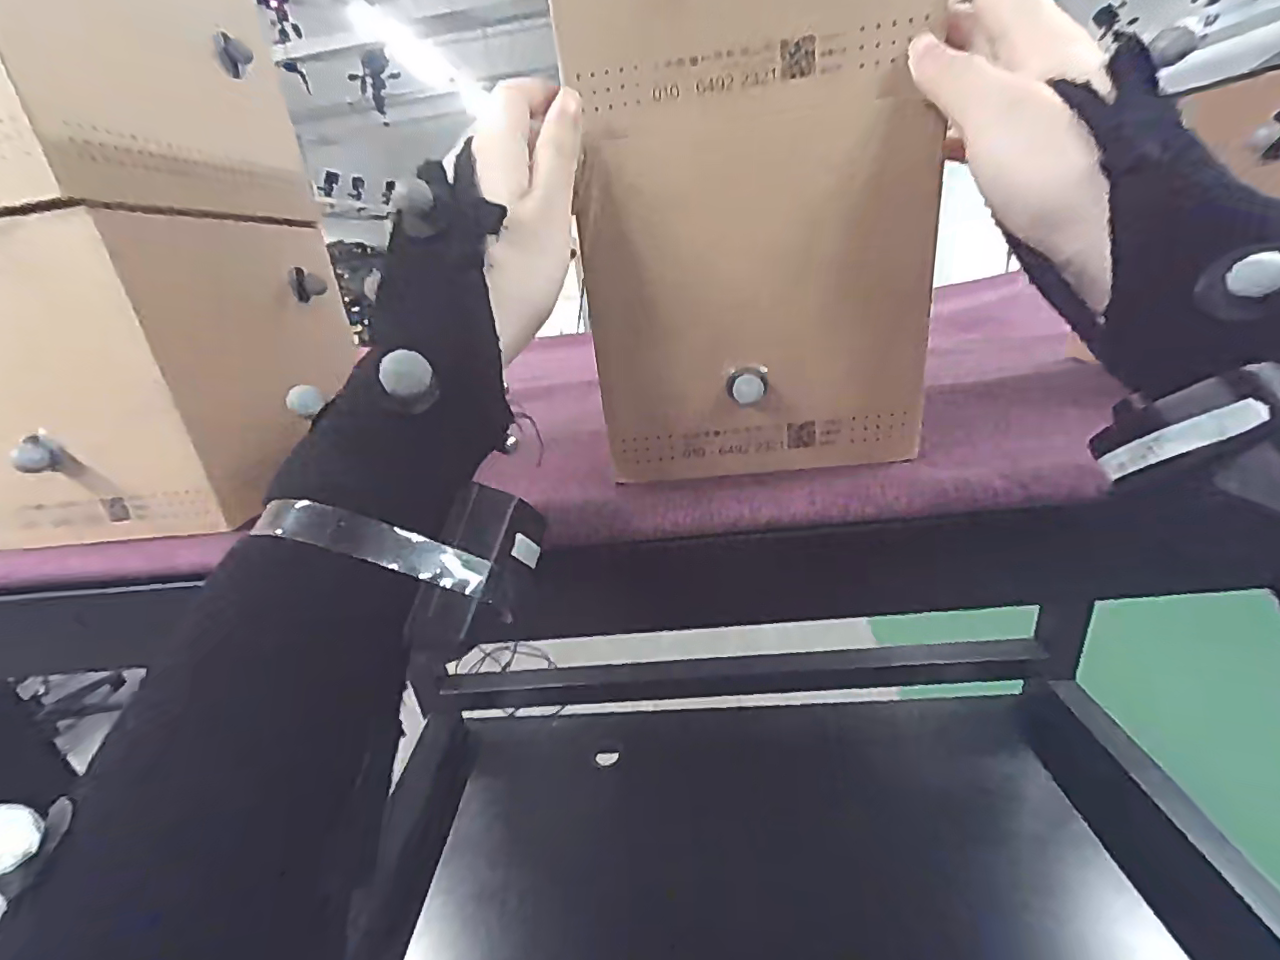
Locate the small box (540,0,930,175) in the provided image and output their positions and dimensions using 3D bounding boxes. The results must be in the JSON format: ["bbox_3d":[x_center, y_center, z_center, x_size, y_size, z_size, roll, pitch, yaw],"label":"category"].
[{"bbox_3d":[0.042,-0.253,0.286,0.168,0.176,0.179,-5,25,7],"label":"small box"}]

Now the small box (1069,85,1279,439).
[{"bbox_3d":[0.396,-0.130,0.312,0.168,0.176,0.179,-5,25,7],"label":"small box"}]

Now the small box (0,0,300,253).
[{"bbox_3d":[-0.328,-0.210,0.298,0.168,0.176,0.179,-5,24,8],"label":"small box"}]

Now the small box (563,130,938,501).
[{"bbox_3d":[0.060,-0.100,0.342,0.168,0.176,0.179,-5,25,7],"label":"small box"}]

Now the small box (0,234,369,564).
[{"bbox_3d":[-0.312,-0.061,0.362,0.168,0.176,0.179,-5,23,6],"label":"small box"}]
